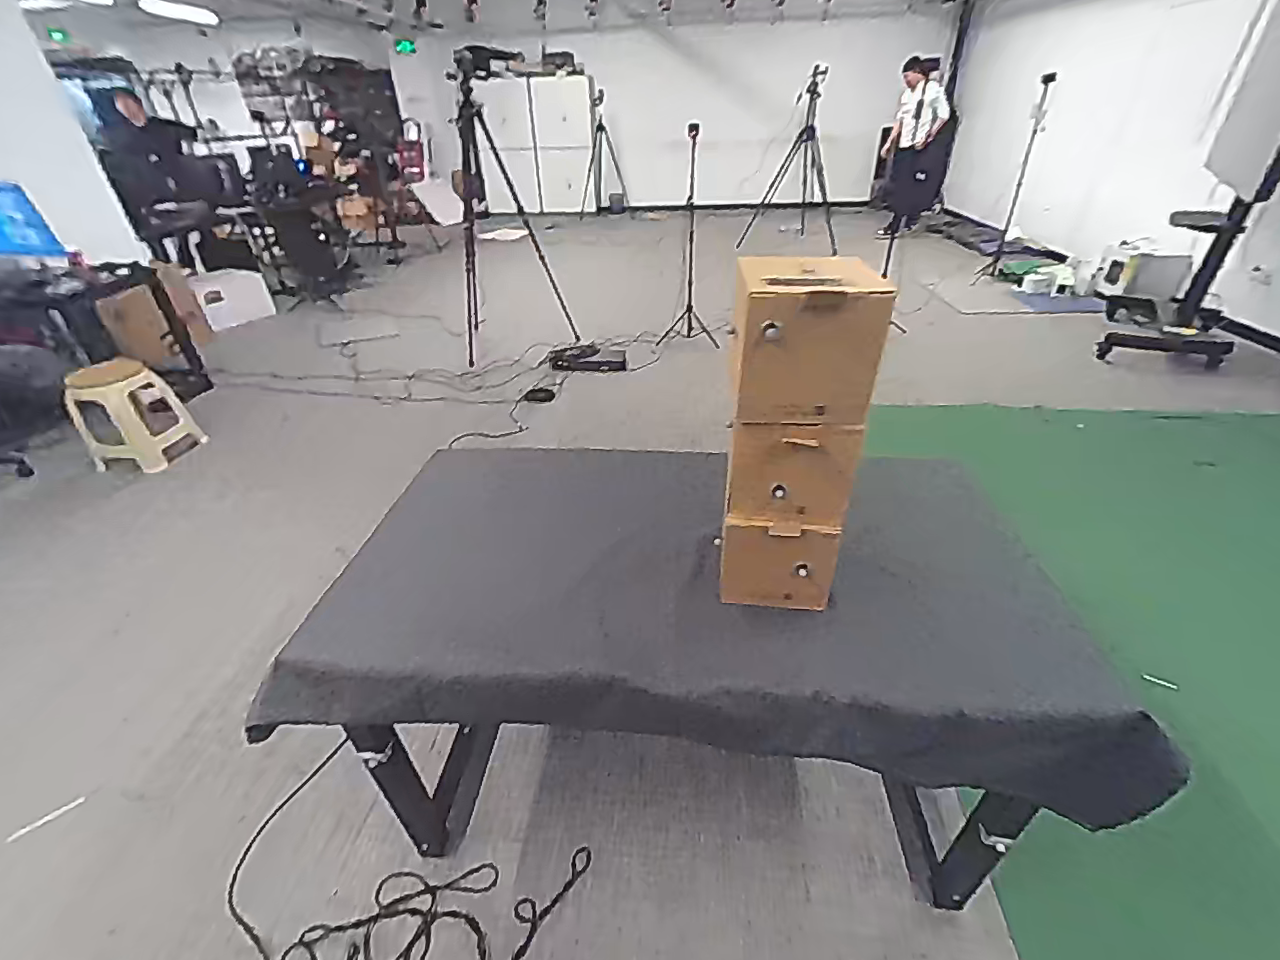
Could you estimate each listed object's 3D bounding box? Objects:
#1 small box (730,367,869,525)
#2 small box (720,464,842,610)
[{"bbox_3d":[0.225,-0.053,0.809,0.168,0.176,0.179,5,35,8],"label":"small box"},{"bbox_3d":[0.222,0.091,0.887,0.168,0.176,0.179,4,33,7],"label":"small box"}]
